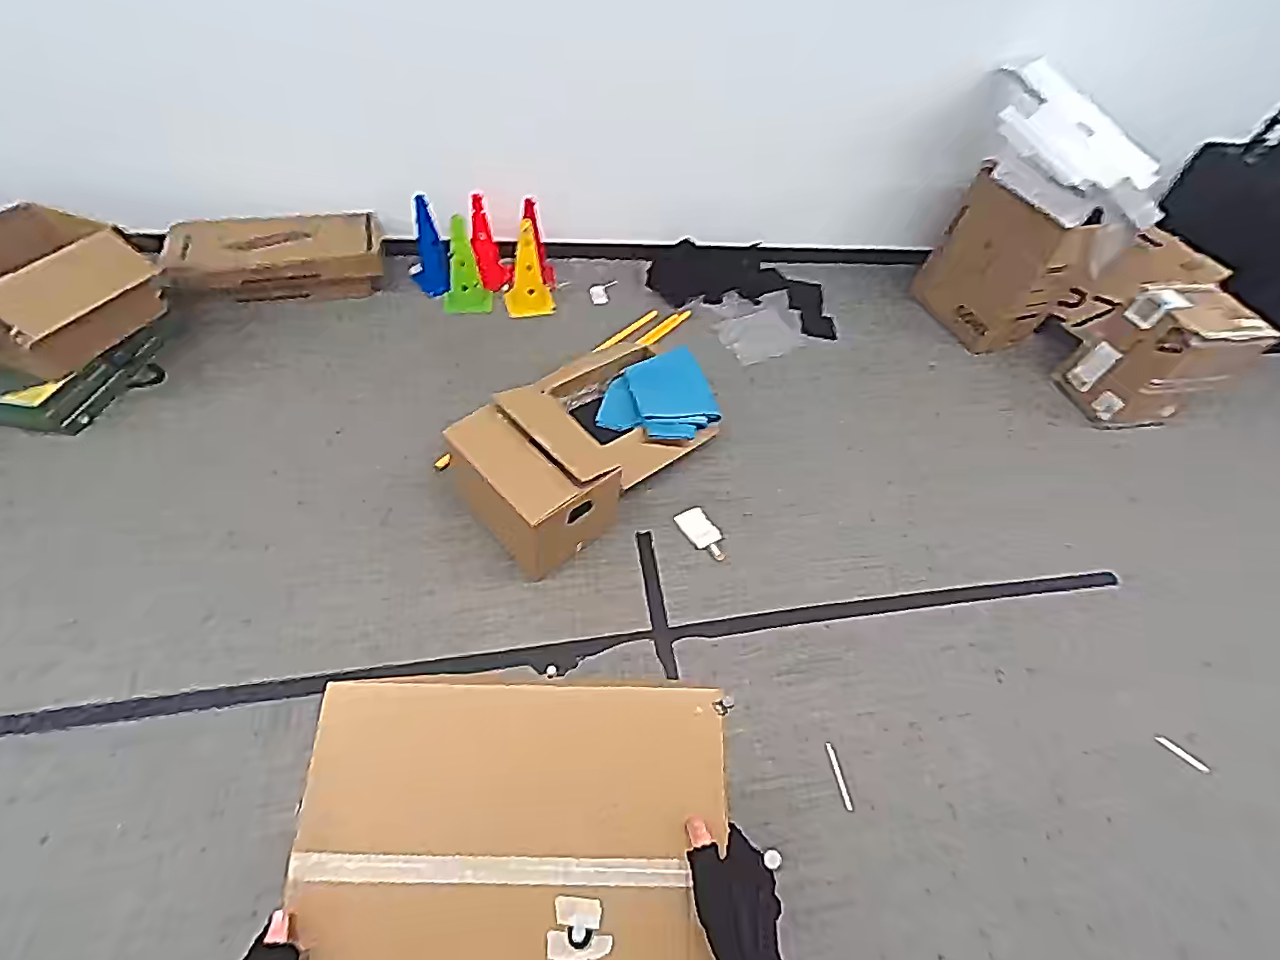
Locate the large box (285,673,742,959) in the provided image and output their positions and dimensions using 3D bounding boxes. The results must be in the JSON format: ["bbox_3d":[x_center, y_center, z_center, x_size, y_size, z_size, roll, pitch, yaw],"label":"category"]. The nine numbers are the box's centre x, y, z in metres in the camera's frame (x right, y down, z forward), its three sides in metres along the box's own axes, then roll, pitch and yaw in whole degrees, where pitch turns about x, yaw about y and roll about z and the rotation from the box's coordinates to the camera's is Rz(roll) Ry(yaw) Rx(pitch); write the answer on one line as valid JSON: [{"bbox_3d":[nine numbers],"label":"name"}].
[{"bbox_3d":[-0.110,0.393,0.633,0.408,0.320,0.320,0,72,1],"label":"large box"}]
